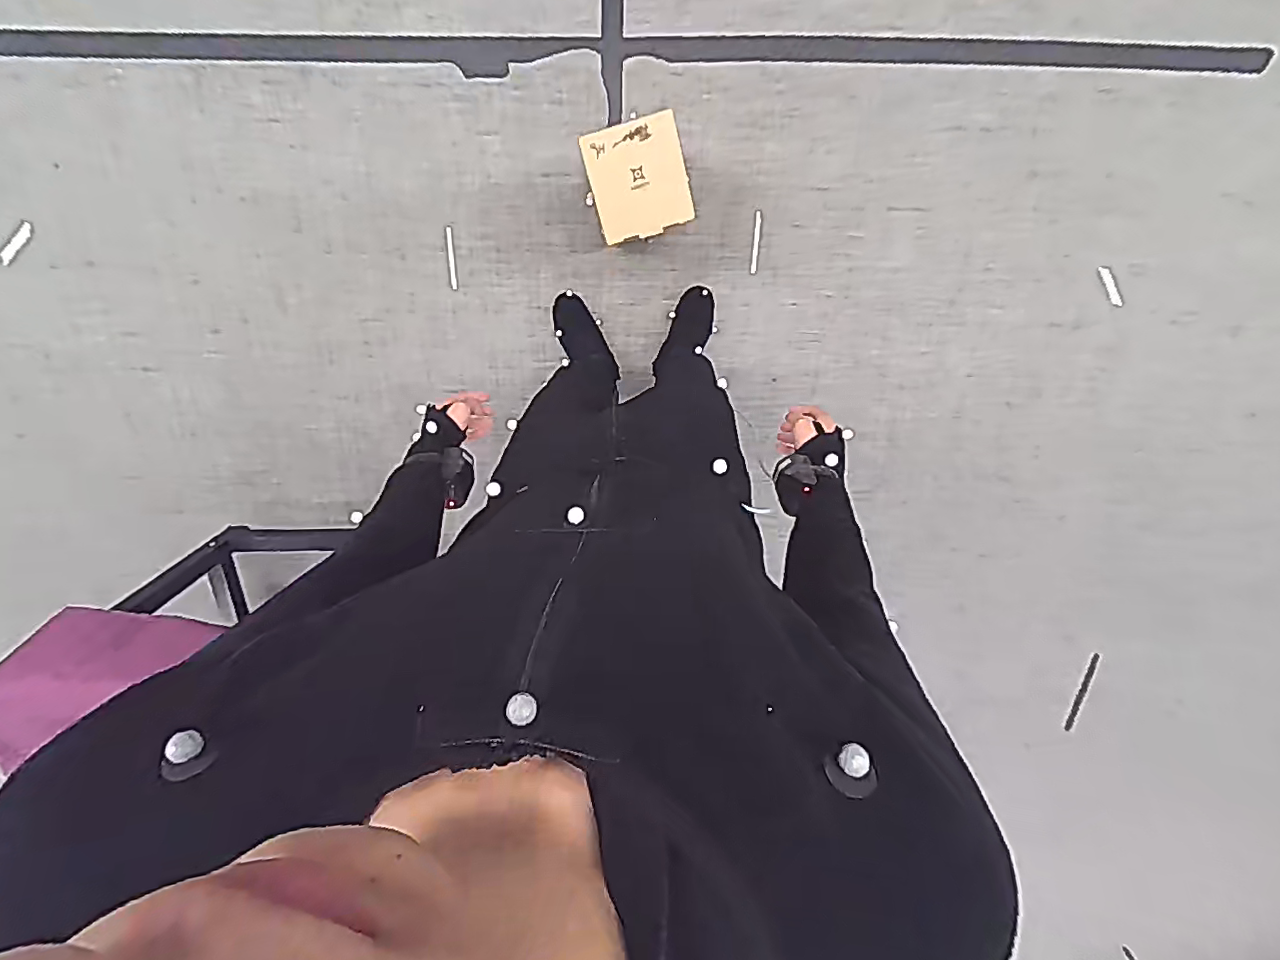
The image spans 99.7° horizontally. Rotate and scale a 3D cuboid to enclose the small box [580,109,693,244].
[{"bbox_3d":[-0.006,-0.554,1.007,0.168,0.176,0.179,-15,113,3],"label":"small box"}]
